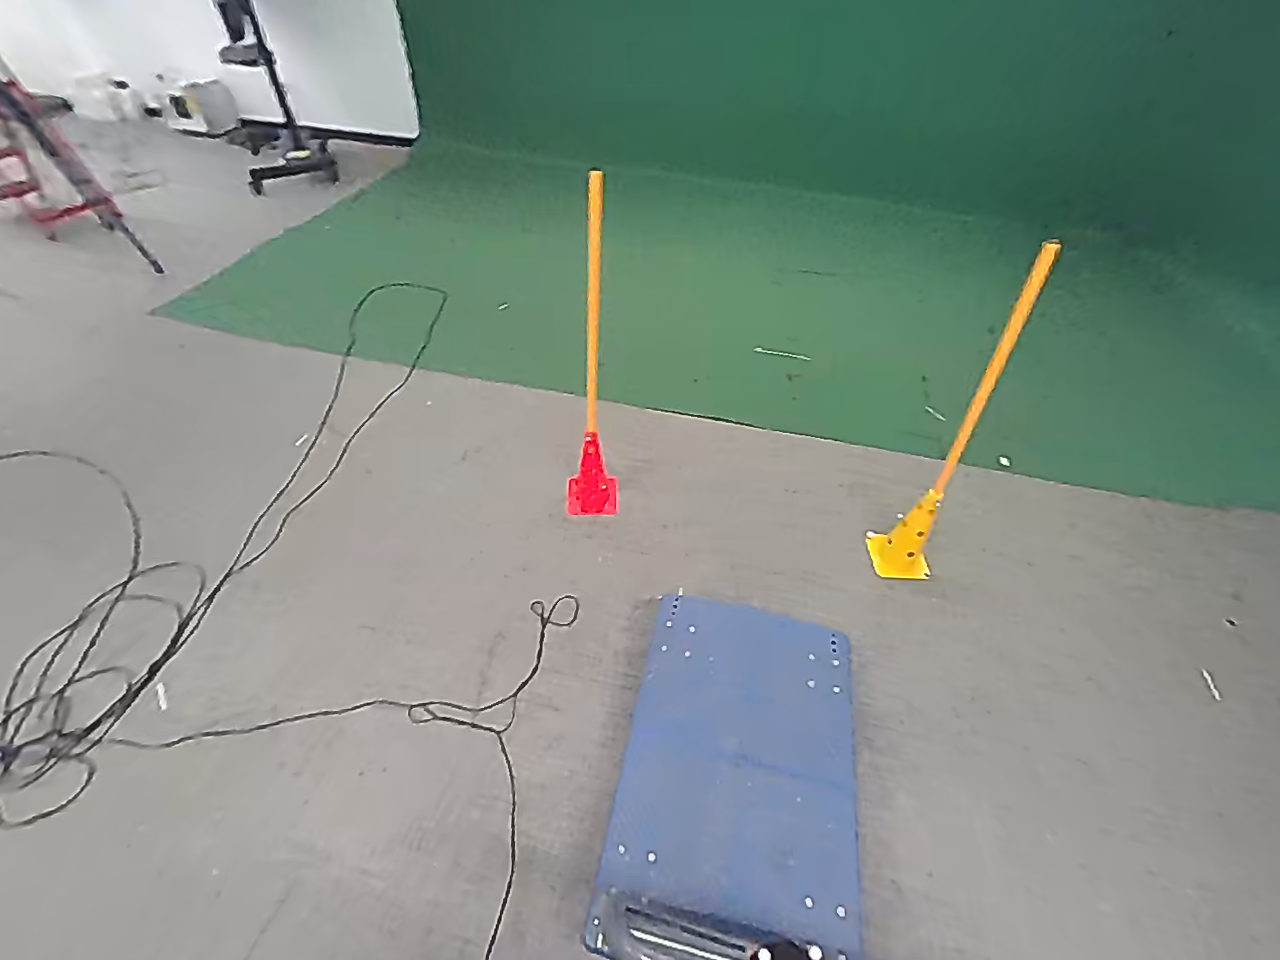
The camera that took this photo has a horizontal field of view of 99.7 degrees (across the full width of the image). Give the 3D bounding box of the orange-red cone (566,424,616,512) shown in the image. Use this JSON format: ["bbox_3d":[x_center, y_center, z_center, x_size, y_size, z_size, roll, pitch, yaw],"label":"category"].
[{"bbox_3d":[-0.189,-0.065,2.038,0.199,0.360,0.198,-1,46,-3],"label":"orange-red cone"}]
